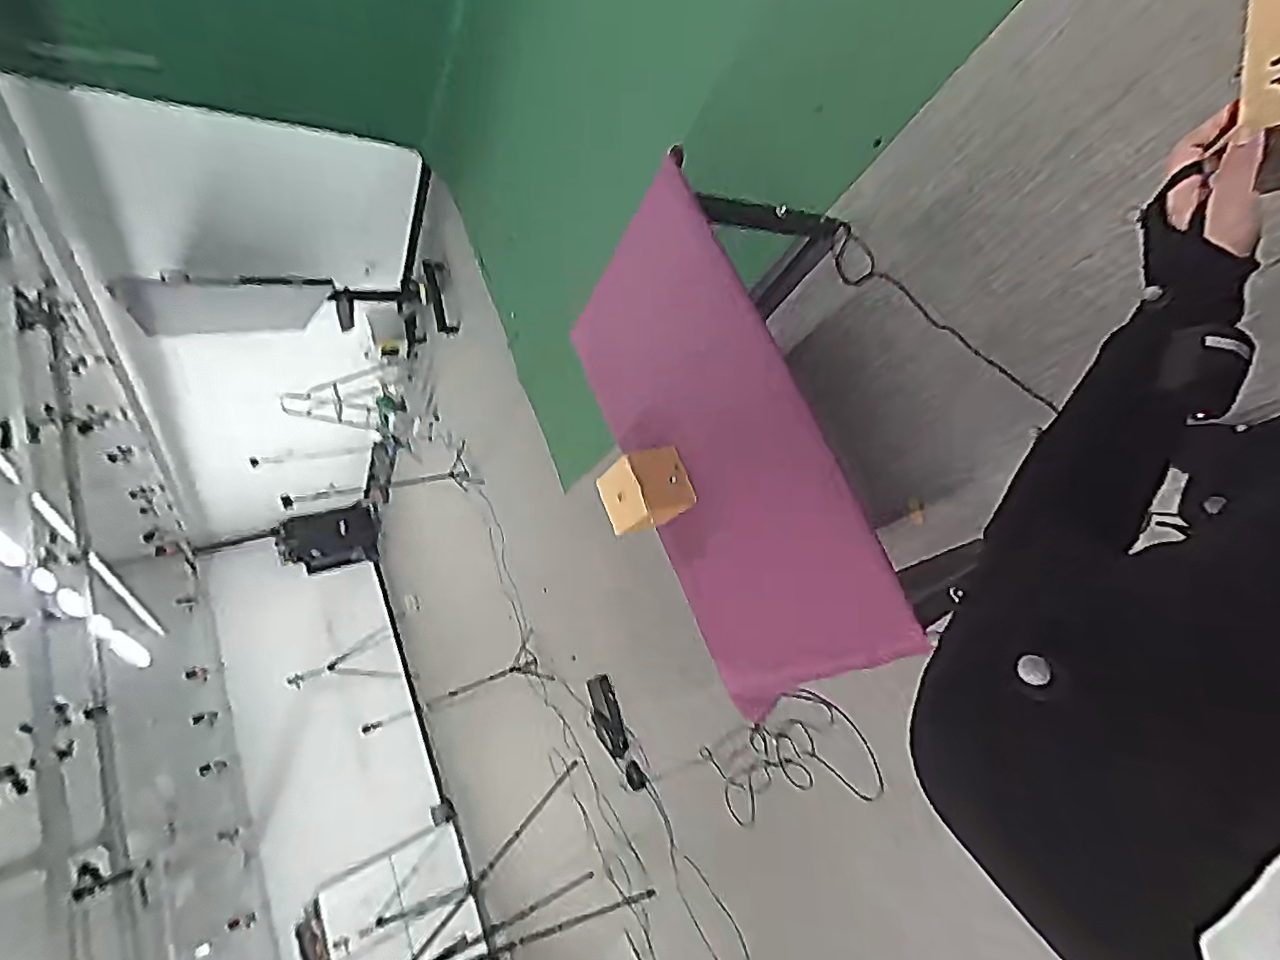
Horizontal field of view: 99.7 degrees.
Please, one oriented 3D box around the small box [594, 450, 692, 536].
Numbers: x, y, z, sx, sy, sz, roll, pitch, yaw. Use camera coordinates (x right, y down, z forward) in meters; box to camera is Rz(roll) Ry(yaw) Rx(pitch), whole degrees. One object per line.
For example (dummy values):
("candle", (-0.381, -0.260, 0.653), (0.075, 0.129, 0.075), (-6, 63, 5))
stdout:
("small box", (0.008, 0.034, 1.448), (0.179, 0.176, 0.168), (-40, 68, 49))
